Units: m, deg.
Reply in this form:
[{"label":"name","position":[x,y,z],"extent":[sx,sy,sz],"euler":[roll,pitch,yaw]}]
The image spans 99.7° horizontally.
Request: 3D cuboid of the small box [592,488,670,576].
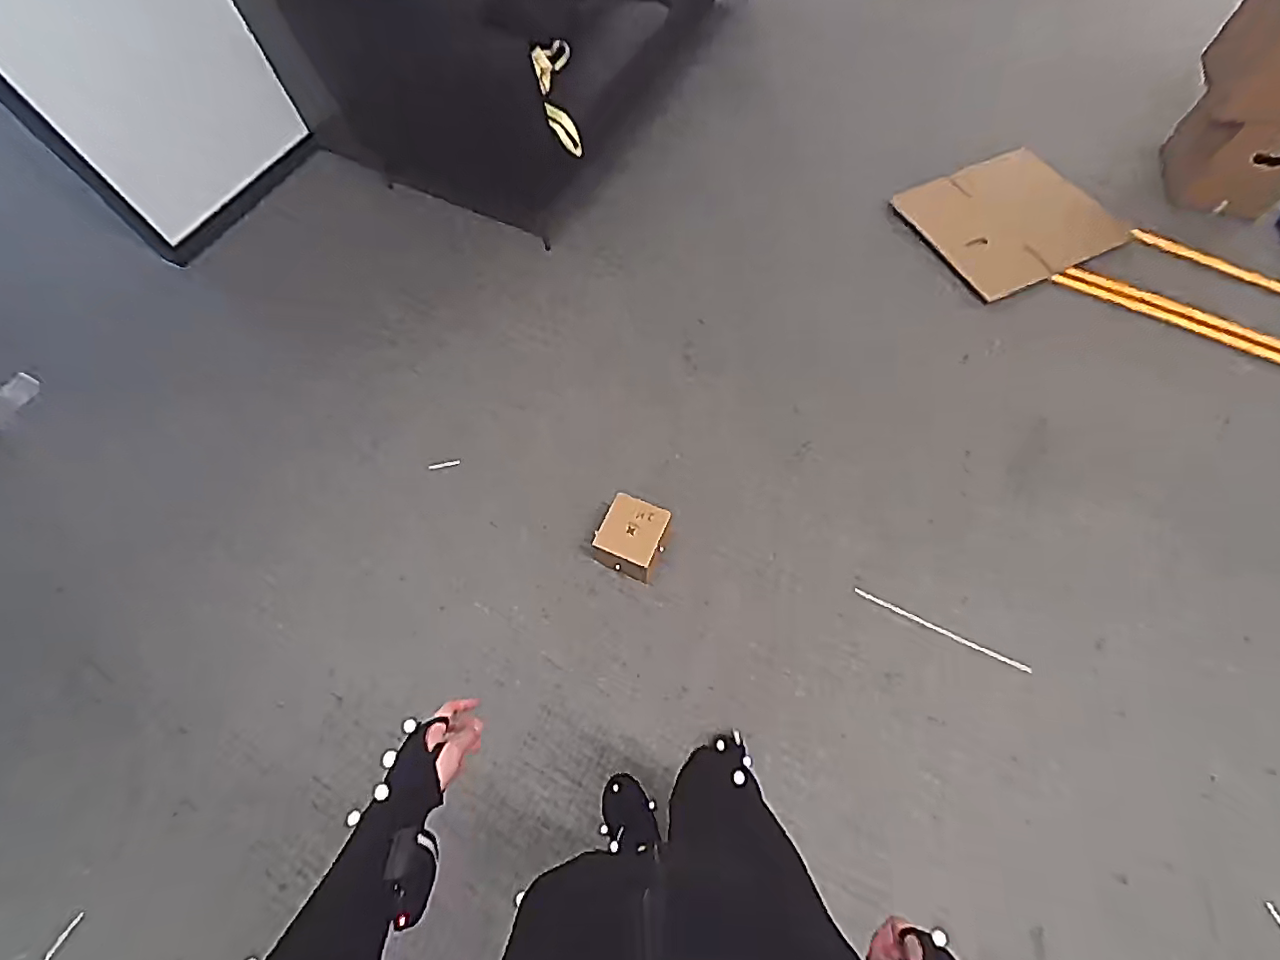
[{"label":"small box","position":[-0.021,0.156,1.551],"extent":[0.168,0.176,0.179],"euler":[22,68,11]}]
